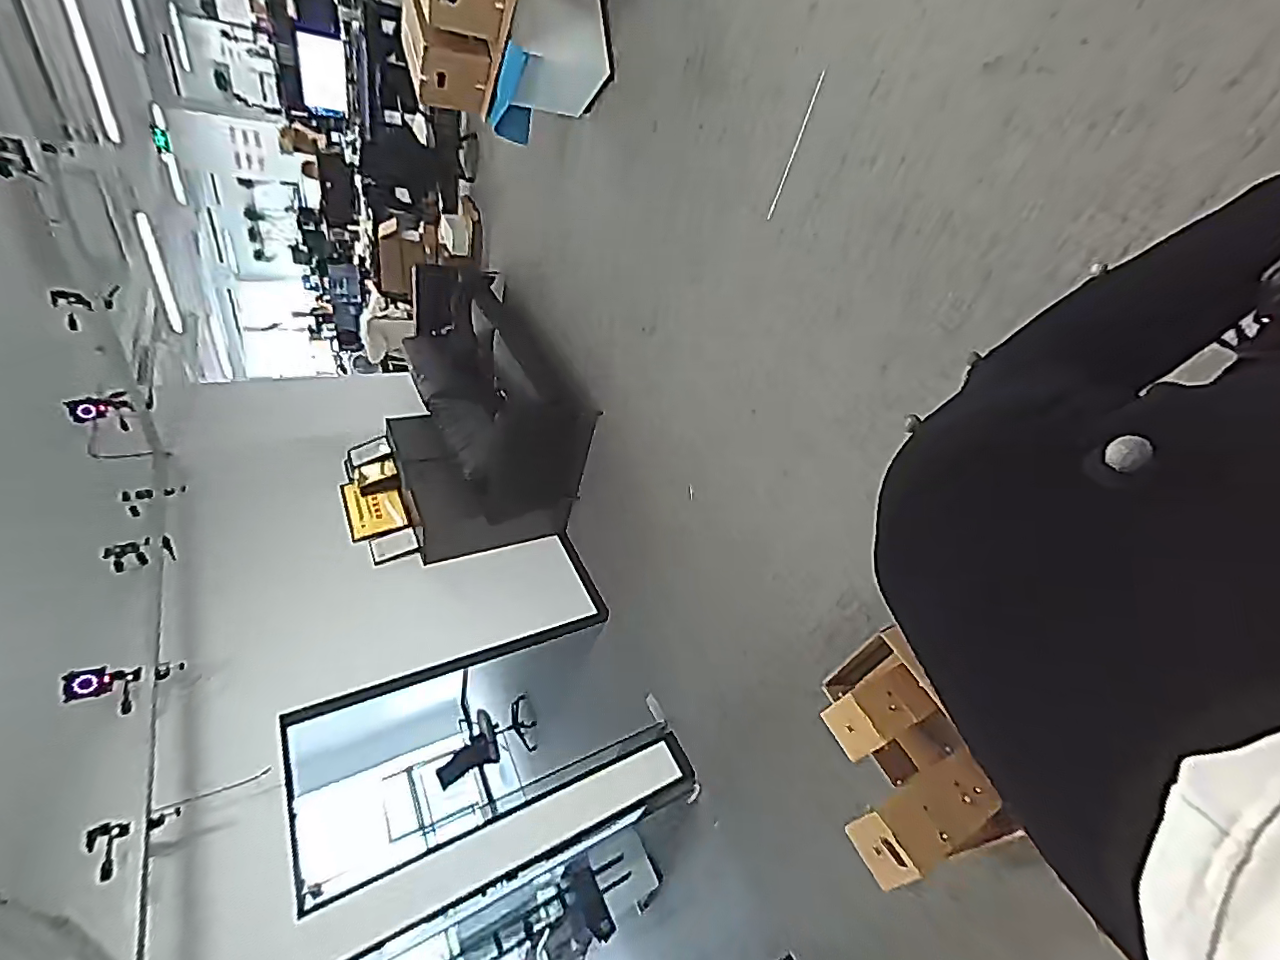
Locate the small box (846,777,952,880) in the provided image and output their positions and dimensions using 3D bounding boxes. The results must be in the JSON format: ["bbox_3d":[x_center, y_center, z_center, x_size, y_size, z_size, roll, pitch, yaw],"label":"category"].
[{"bbox_3d":[0.719,0.955,1.491,0.168,0.176,0.179,56,143,33],"label":"small box"}]

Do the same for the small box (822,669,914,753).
[{"bbox_3d":[0.728,0.734,1.725,0.168,0.176,0.179,57,142,31],"label":"small box"}]

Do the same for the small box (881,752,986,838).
[{"bbox_3d":[0.856,0.931,1.577,0.168,0.176,0.179,58,143,32],"label":"small box"}]

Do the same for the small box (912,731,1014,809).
[{"bbox_3d":[0.993,0.905,1.660,0.168,0.176,0.179,57,144,31],"label":"small box"}]
